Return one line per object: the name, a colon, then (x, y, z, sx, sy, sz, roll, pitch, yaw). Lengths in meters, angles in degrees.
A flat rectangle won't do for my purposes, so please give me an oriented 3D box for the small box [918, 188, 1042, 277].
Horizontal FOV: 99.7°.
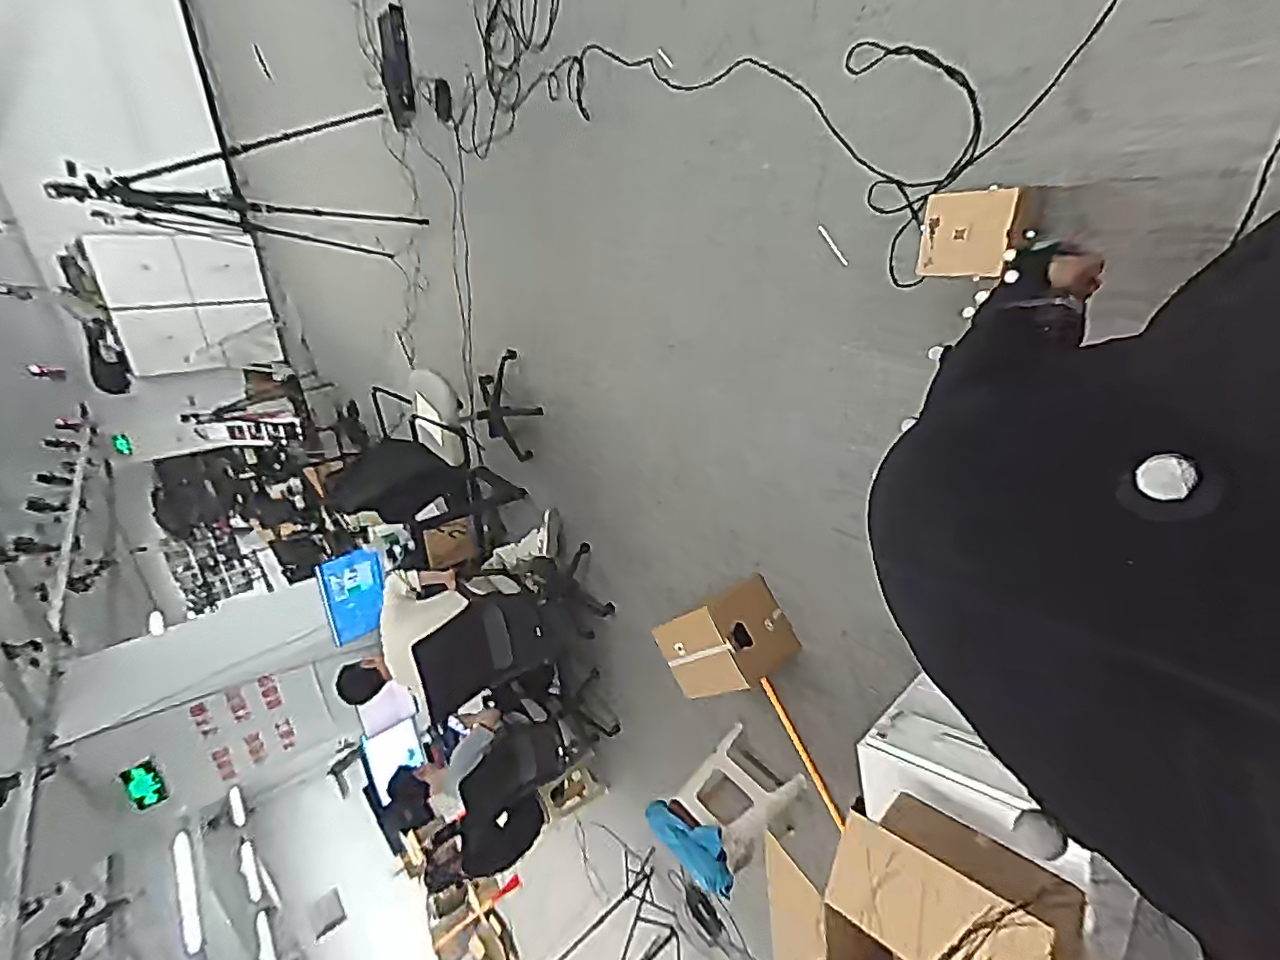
small box: (0.746, -0.542, 1.186, 0.179, 0.176, 0.168, 22, 123, 43)
